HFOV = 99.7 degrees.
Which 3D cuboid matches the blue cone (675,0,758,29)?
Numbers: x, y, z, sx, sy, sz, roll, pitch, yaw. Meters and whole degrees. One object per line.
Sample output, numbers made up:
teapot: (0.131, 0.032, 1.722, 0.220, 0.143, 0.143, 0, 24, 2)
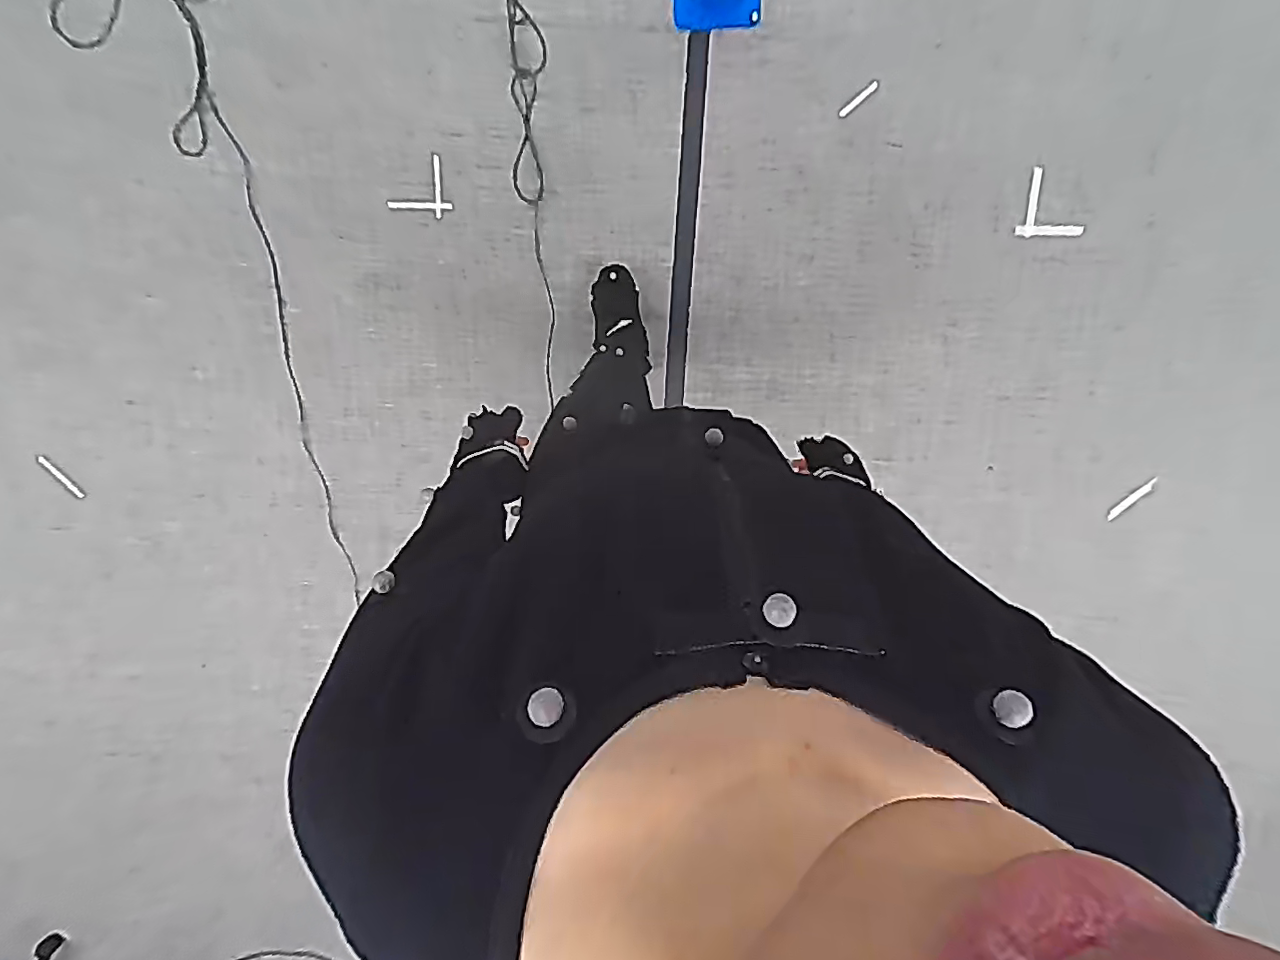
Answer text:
blue cone: (0.181, -1.087, 1.055, 0.192, 0.380, 0.193, -1, 103, -3)
